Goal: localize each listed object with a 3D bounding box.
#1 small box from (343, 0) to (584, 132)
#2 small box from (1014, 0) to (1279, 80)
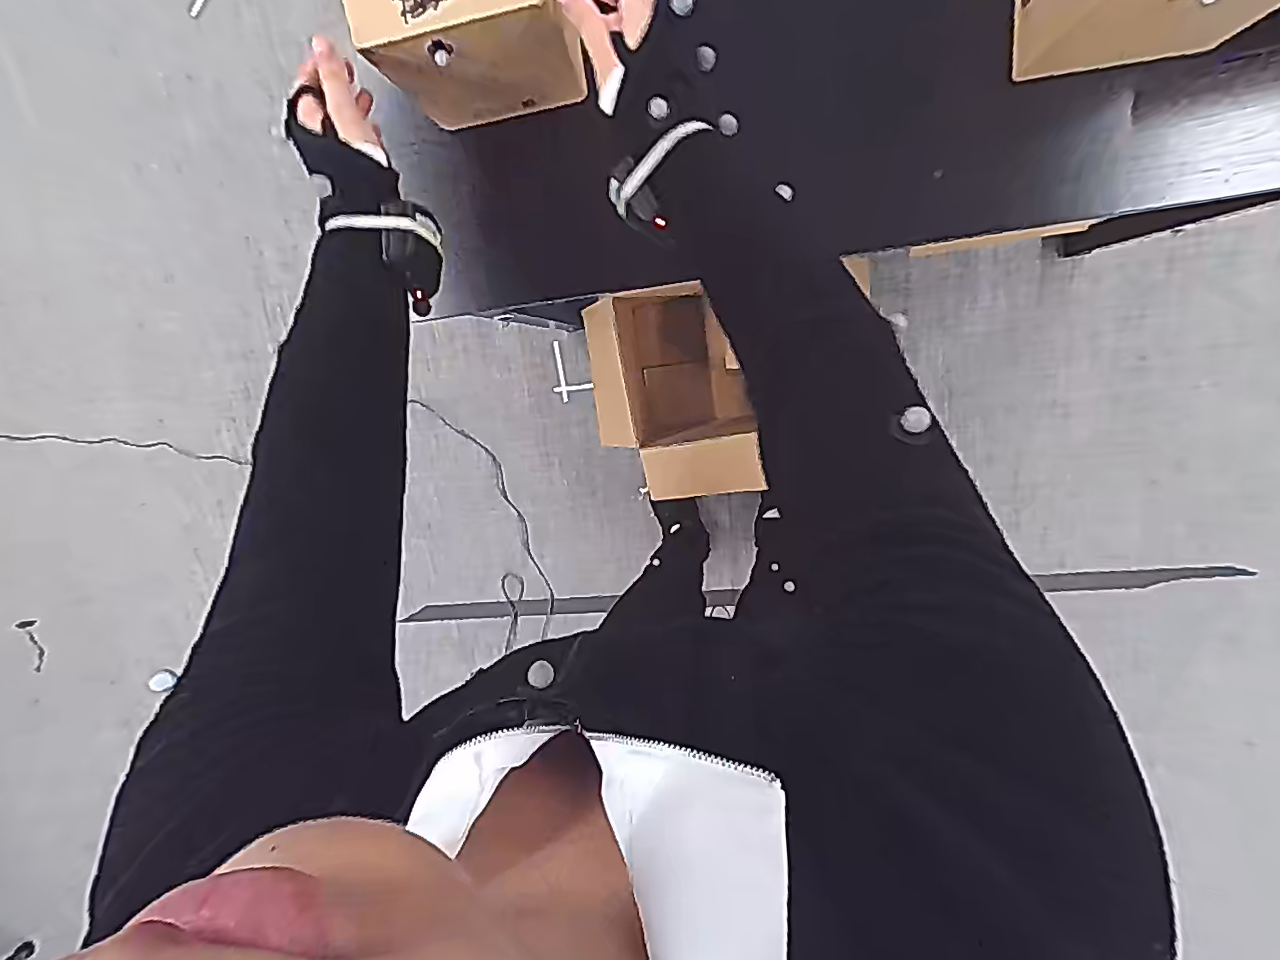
[{"bbox_3d":[-0.155,-0.457,0.490,0.168,0.176,0.179,-7,101,7],"label":"small box"},{"bbox_3d":[0.432,-0.454,0.427,0.179,0.176,0.168,-4,102,6],"label":"small box"}]
